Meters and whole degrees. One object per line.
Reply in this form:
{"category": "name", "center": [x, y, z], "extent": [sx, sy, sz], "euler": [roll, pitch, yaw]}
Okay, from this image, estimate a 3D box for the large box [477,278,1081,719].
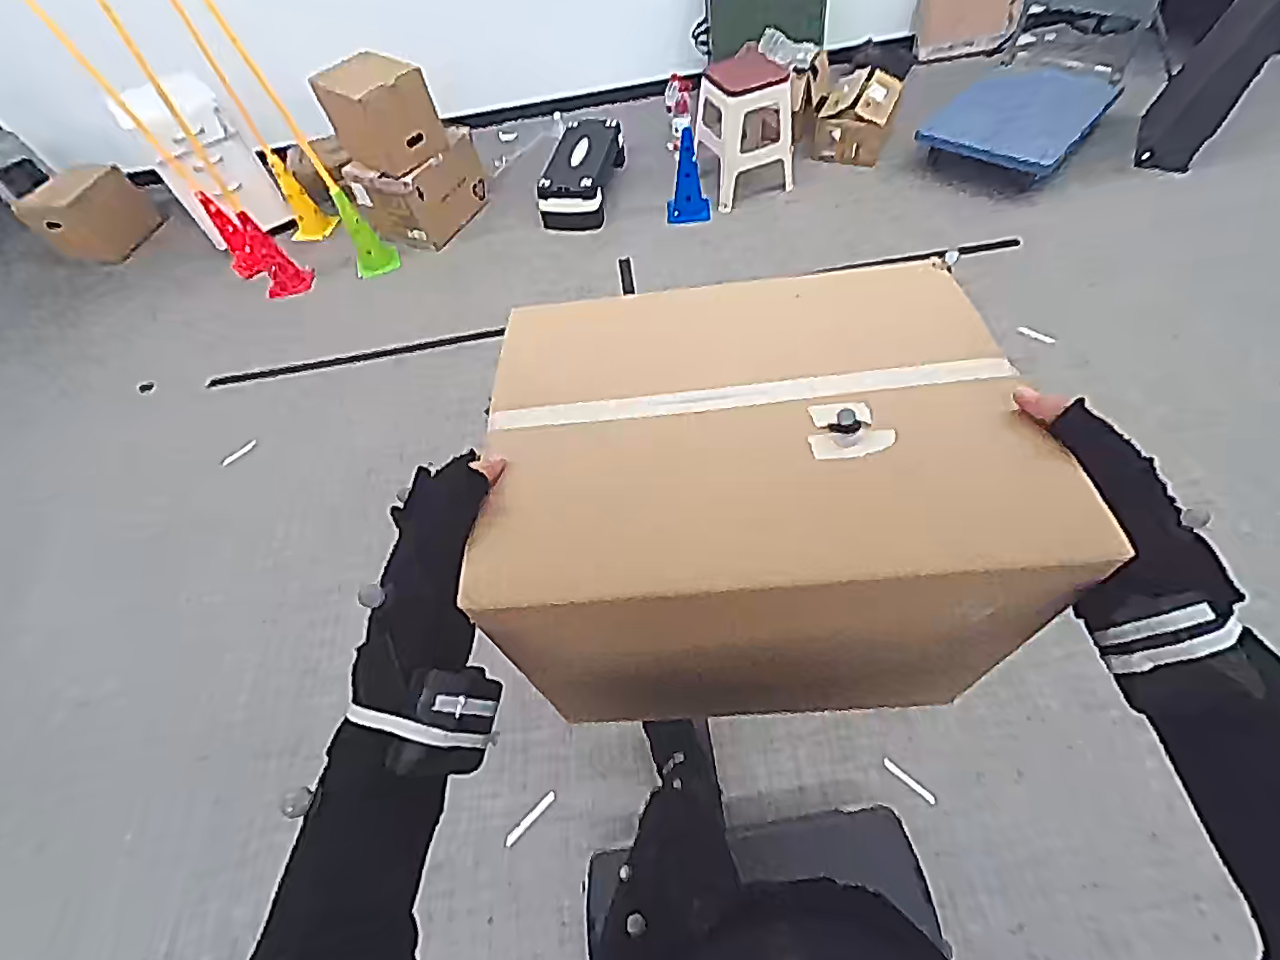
{"category": "large box", "center": [0.094, 0.034, 0.559], "extent": [0.408, 0.320, 0.320], "euler": [-5, 52, 4]}
